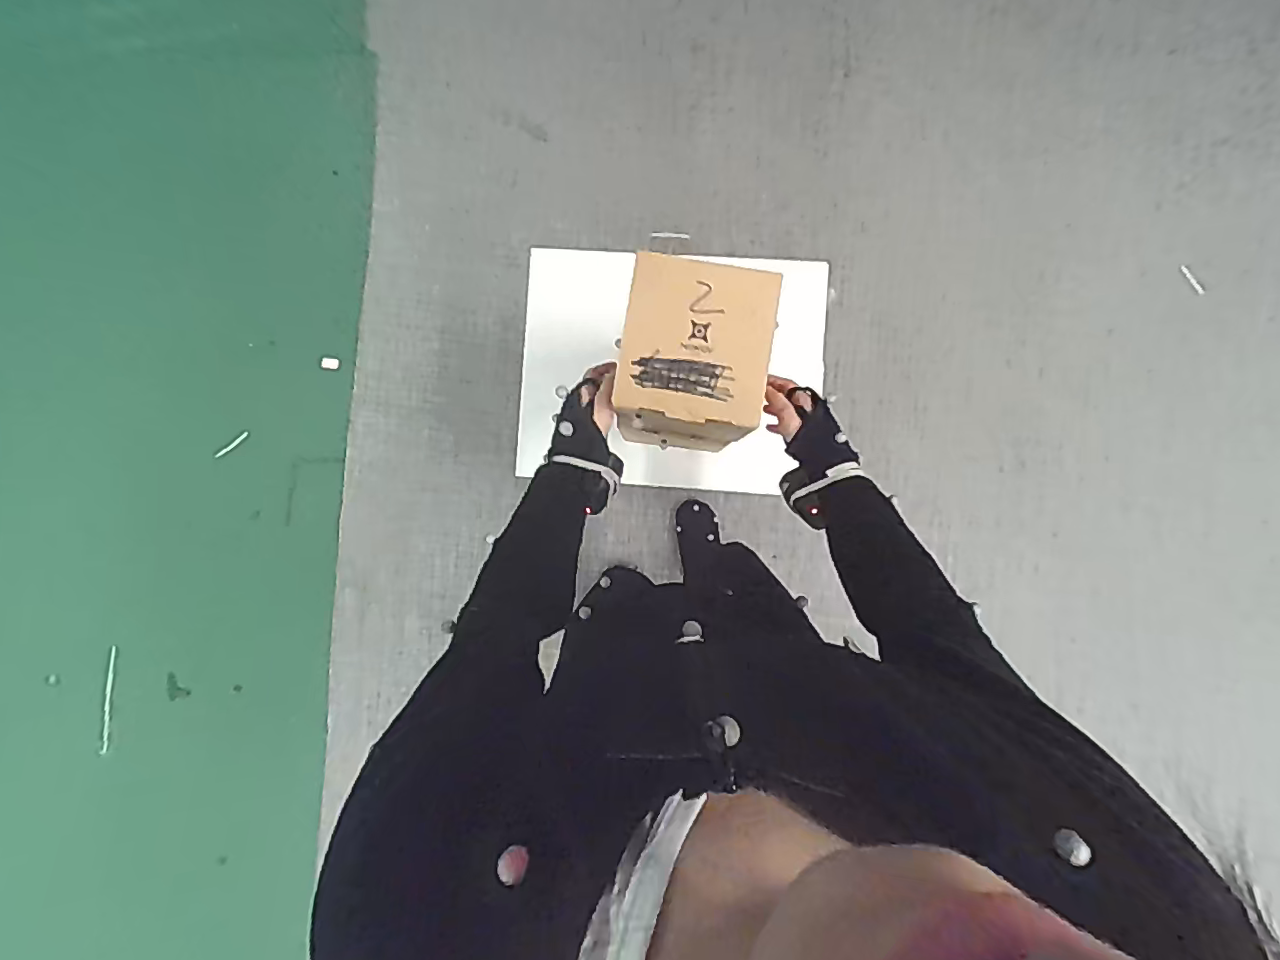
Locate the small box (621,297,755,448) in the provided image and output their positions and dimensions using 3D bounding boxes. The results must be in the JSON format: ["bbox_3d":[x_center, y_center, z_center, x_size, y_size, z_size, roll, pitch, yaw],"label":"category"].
[{"bbox_3d":[0.067,-0.152,0.813,0.168,0.176,0.179,7,88,3],"label":"small box"}]
